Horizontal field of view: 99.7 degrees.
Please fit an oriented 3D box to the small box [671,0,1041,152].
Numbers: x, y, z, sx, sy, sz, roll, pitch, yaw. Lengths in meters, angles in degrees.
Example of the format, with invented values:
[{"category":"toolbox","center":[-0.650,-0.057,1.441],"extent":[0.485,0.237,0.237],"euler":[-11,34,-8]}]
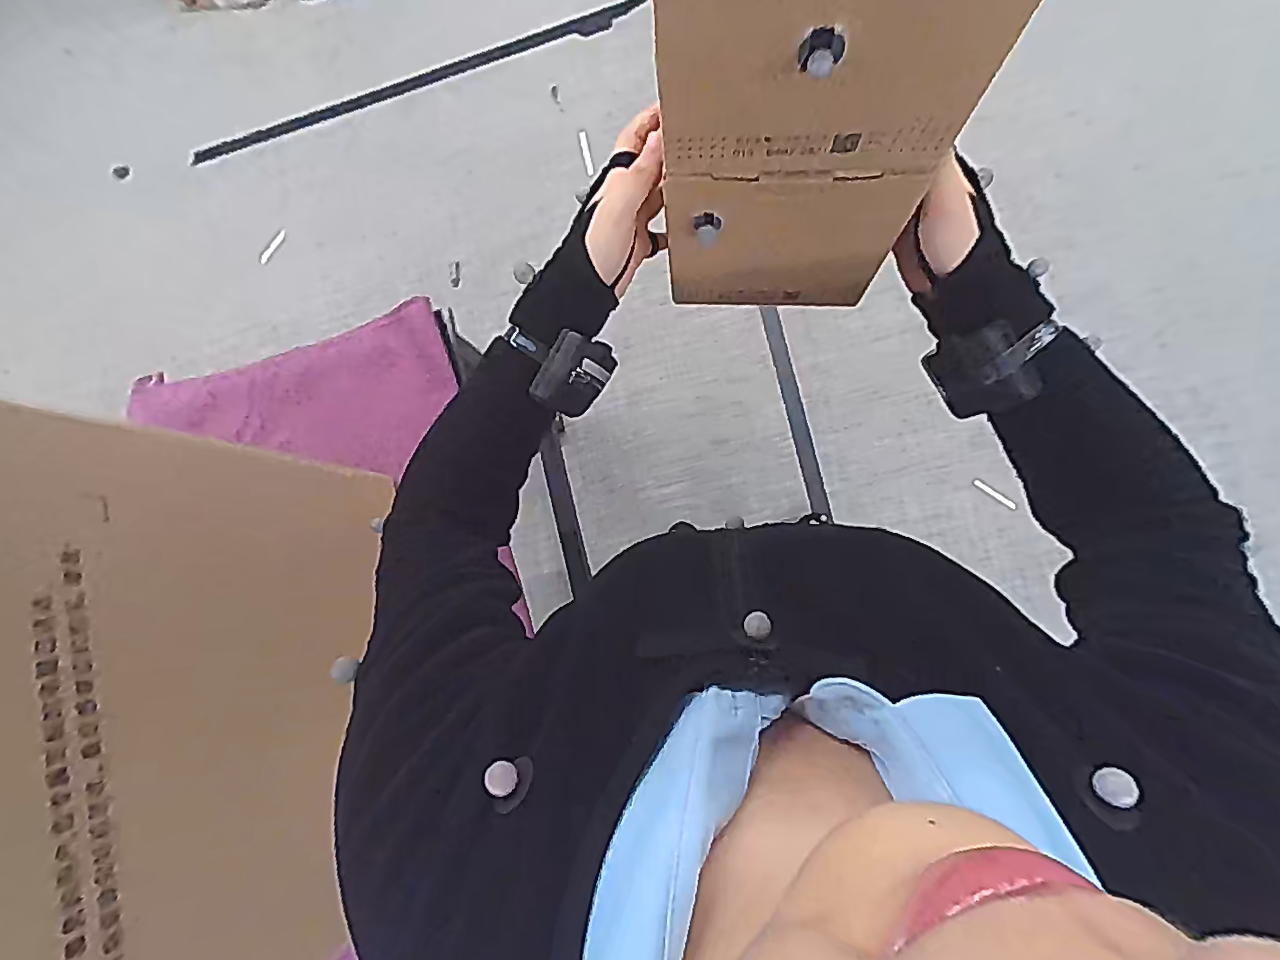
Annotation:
[{"category":"small box","center":[0.101,-0.287,0.256],"extent":[0.168,0.176,0.179],"euler":[2,80,5]}]
